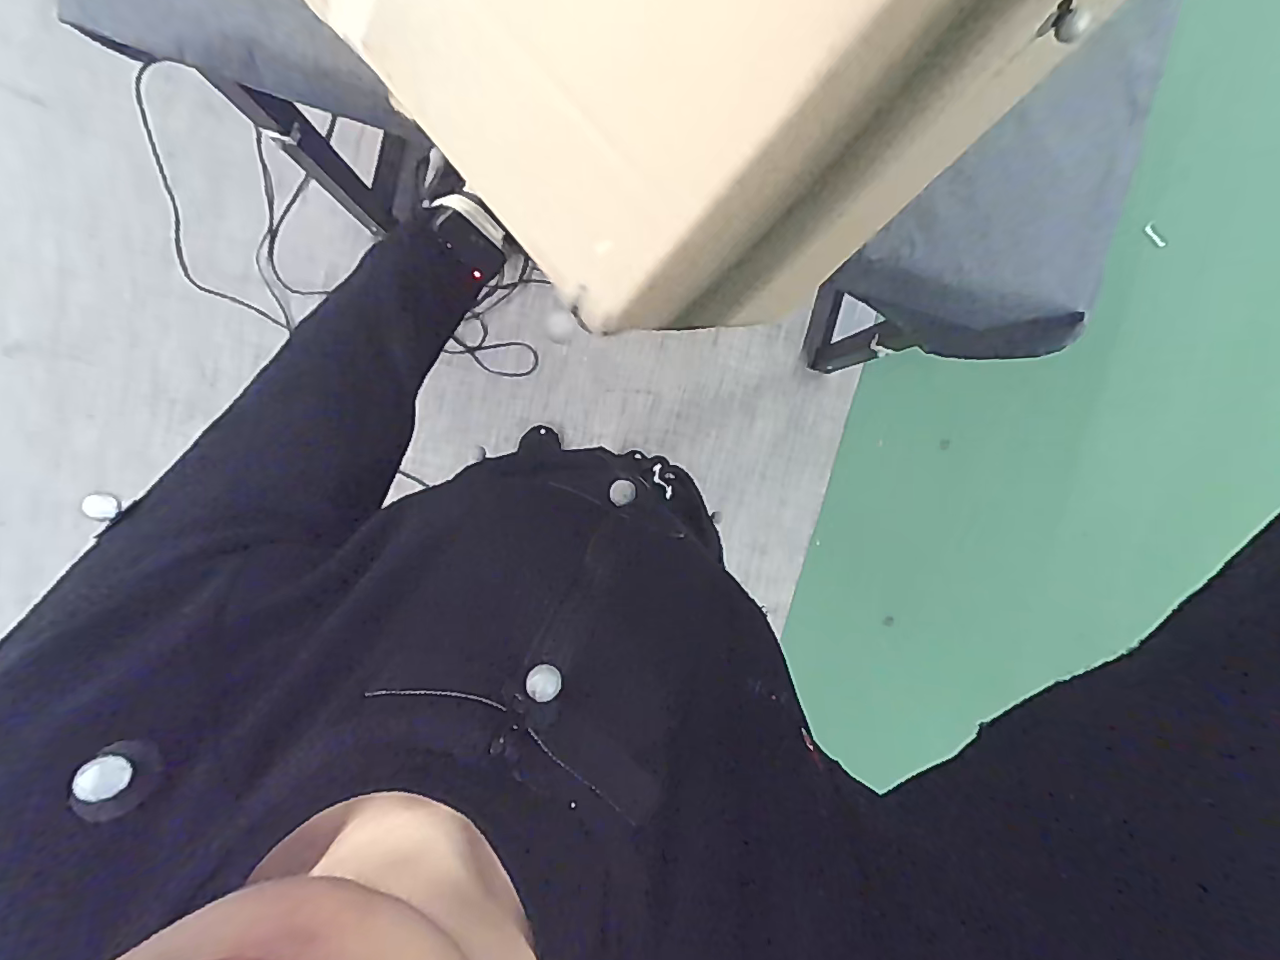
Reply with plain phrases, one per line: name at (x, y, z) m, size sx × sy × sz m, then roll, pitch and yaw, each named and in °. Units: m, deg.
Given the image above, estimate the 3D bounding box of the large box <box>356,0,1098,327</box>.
large box at (0.093, -0.338, 0.260) m, size 0.320 × 0.320 × 0.408 m, roll 50°, pitch 122°, yaw 5°
